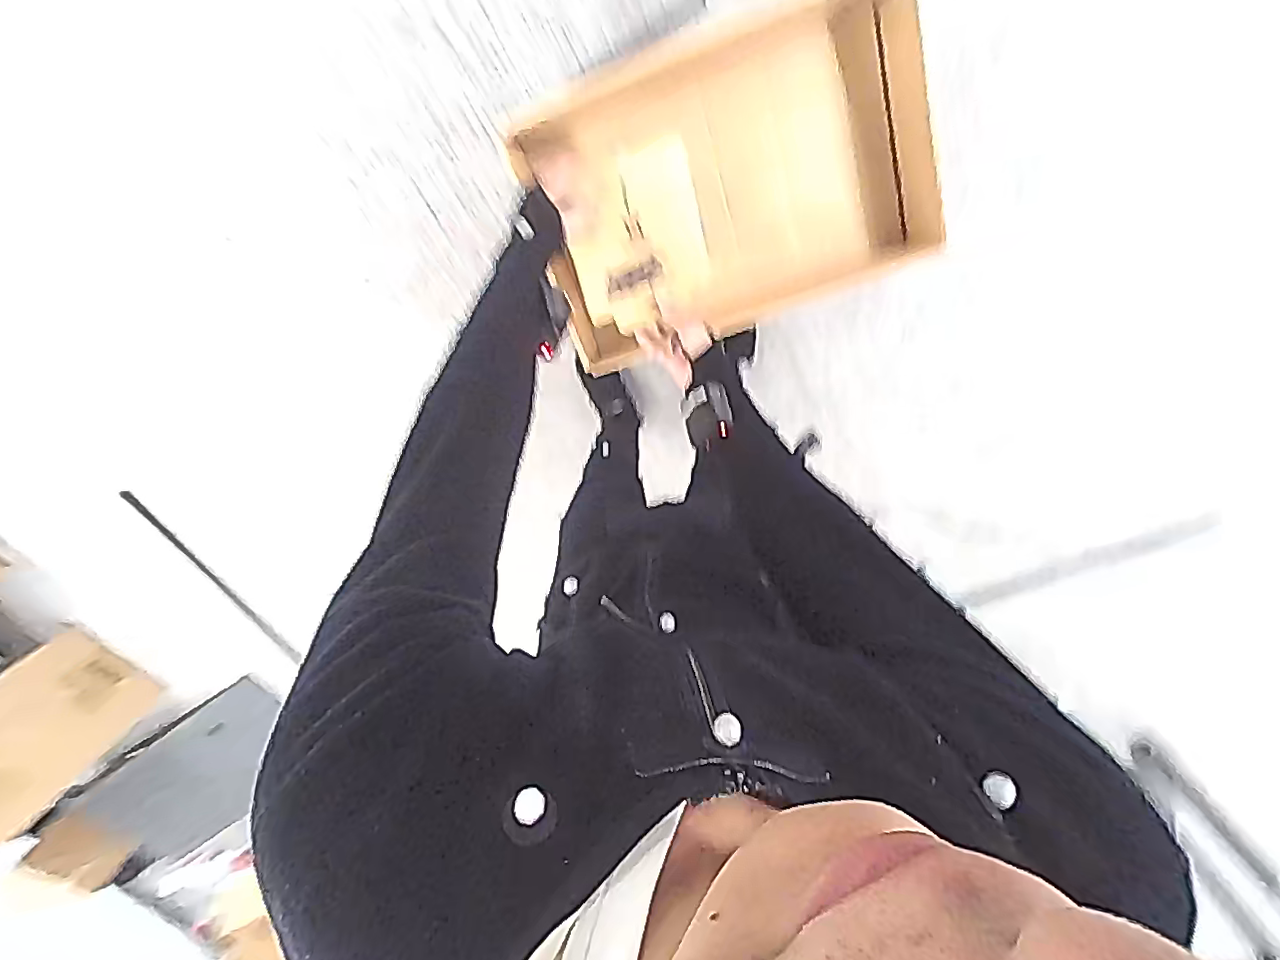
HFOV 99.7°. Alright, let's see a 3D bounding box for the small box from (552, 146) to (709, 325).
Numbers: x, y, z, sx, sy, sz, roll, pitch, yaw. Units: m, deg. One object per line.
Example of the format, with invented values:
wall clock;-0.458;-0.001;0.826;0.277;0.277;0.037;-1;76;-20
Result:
small box;-0.005;-0.336;0.753;0.168;0.176;0.179;-14;114;8
